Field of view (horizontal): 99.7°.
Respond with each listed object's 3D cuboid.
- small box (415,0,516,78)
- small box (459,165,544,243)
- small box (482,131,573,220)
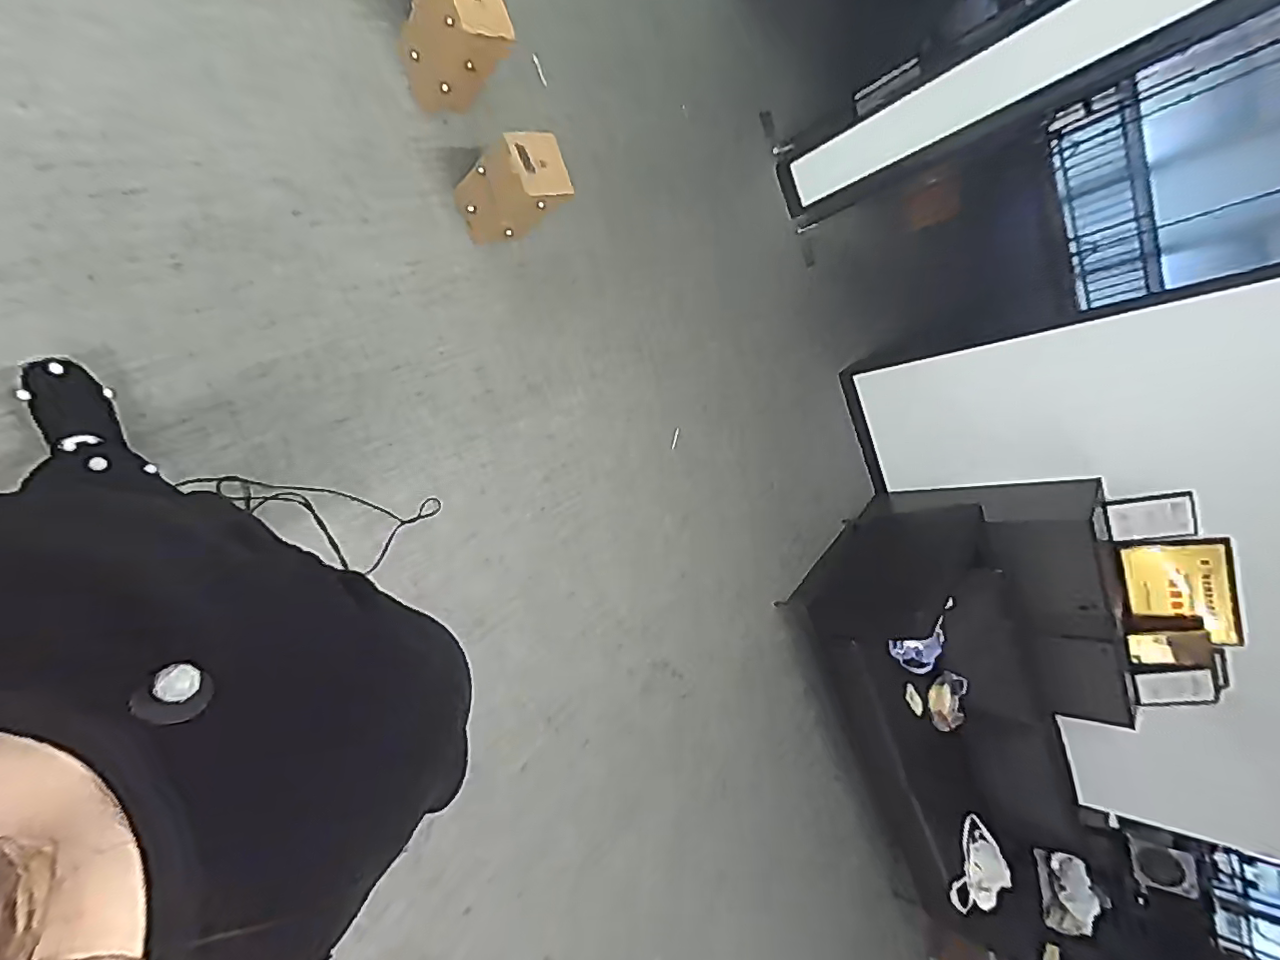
[{"bbox_3d":[-0.470,-1.227,1.445,0.168,0.176,0.179,-31,106,-40],"label":"small box"},{"bbox_3d":[-0.433,-0.848,1.662,0.179,0.176,0.168,-32,108,-39],"label":"small box"},{"bbox_3d":[-0.327,-0.859,1.536,0.179,0.176,0.168,-31,107,-40],"label":"small box"}]
